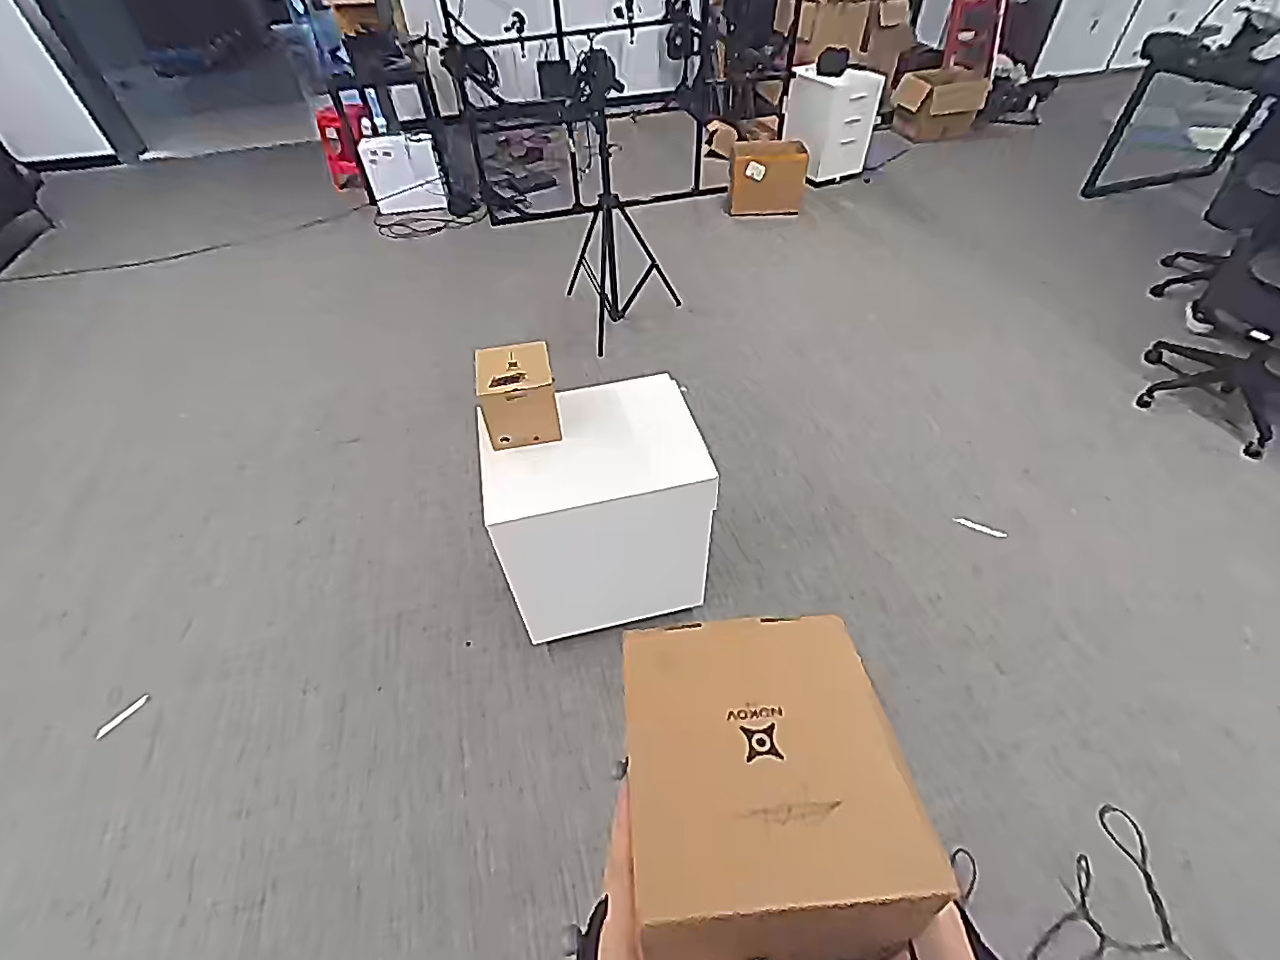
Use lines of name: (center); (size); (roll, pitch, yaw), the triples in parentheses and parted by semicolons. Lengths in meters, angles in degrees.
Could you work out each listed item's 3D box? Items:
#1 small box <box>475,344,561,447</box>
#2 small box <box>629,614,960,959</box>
small box: (-0.285, -0.192, 1.270); (0.168, 0.176, 0.179); (-10, 48, -8)
small box: (0.079, 0.222, 0.386); (0.168, 0.176, 0.179); (-5, 39, -2)
